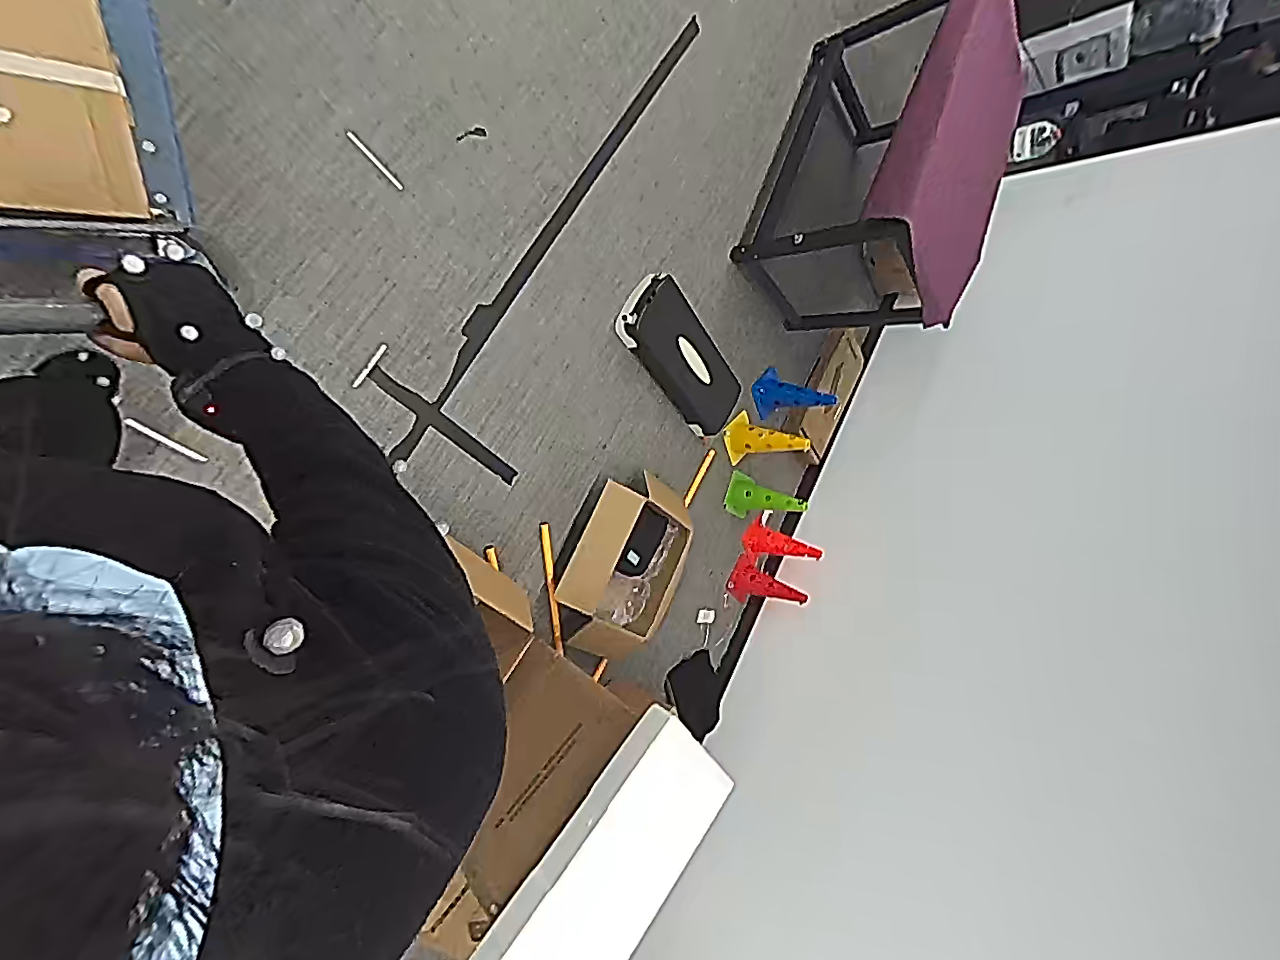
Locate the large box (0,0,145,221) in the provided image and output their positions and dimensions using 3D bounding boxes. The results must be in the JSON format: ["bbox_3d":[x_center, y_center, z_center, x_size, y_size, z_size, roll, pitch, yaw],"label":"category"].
[{"bbox_3d":[-0.912,-0.494,0.645,0.408,0.320,0.320,-18,121,-42],"label":"large box"}]
